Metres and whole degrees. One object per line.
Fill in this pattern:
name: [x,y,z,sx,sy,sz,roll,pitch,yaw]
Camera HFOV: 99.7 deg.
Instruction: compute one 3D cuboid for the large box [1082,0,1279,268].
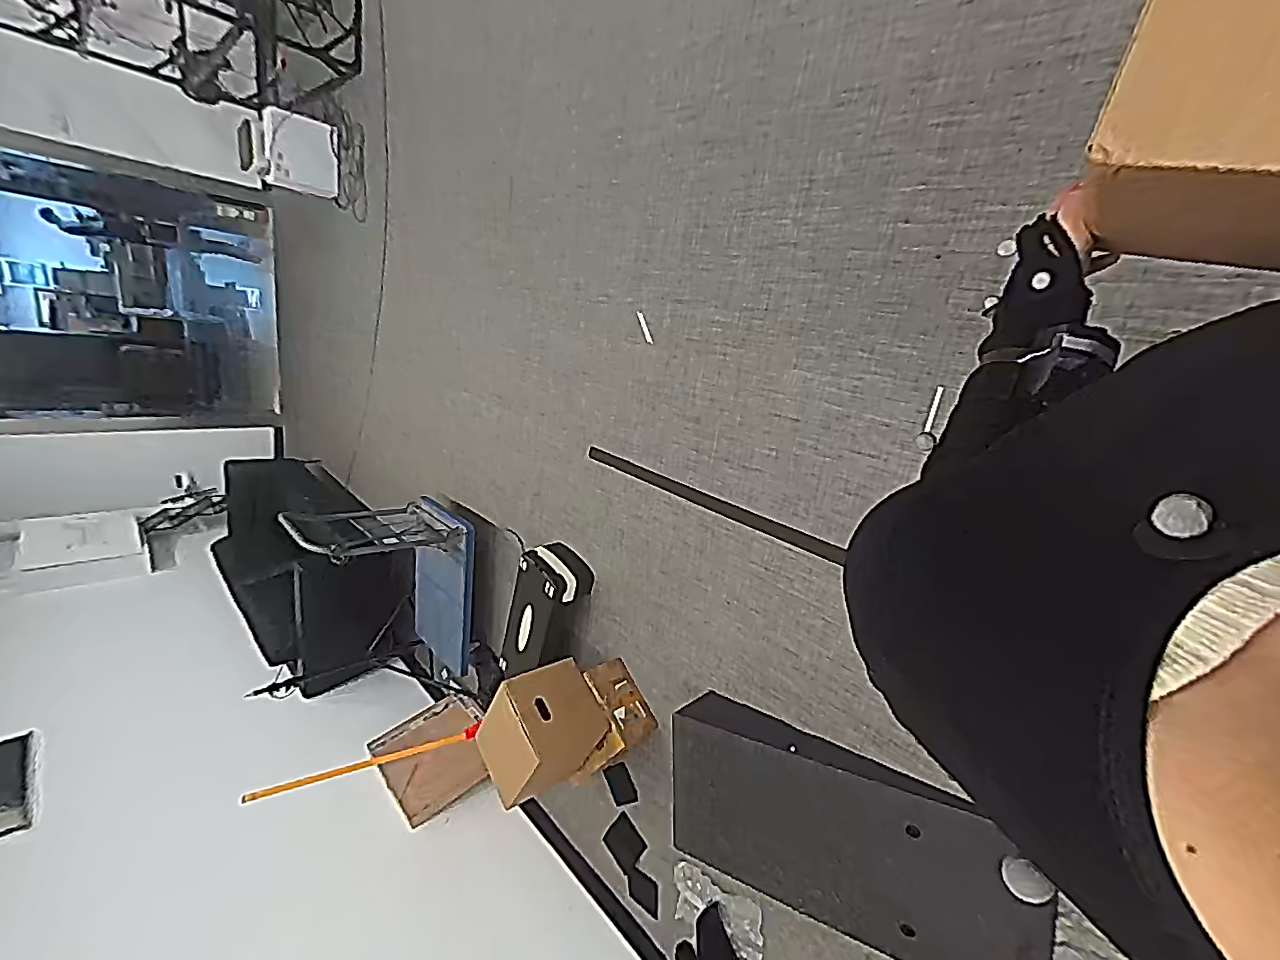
large box: [0.487,-0.257,0.221,0.408,0.320,0.320,24,116,32]
